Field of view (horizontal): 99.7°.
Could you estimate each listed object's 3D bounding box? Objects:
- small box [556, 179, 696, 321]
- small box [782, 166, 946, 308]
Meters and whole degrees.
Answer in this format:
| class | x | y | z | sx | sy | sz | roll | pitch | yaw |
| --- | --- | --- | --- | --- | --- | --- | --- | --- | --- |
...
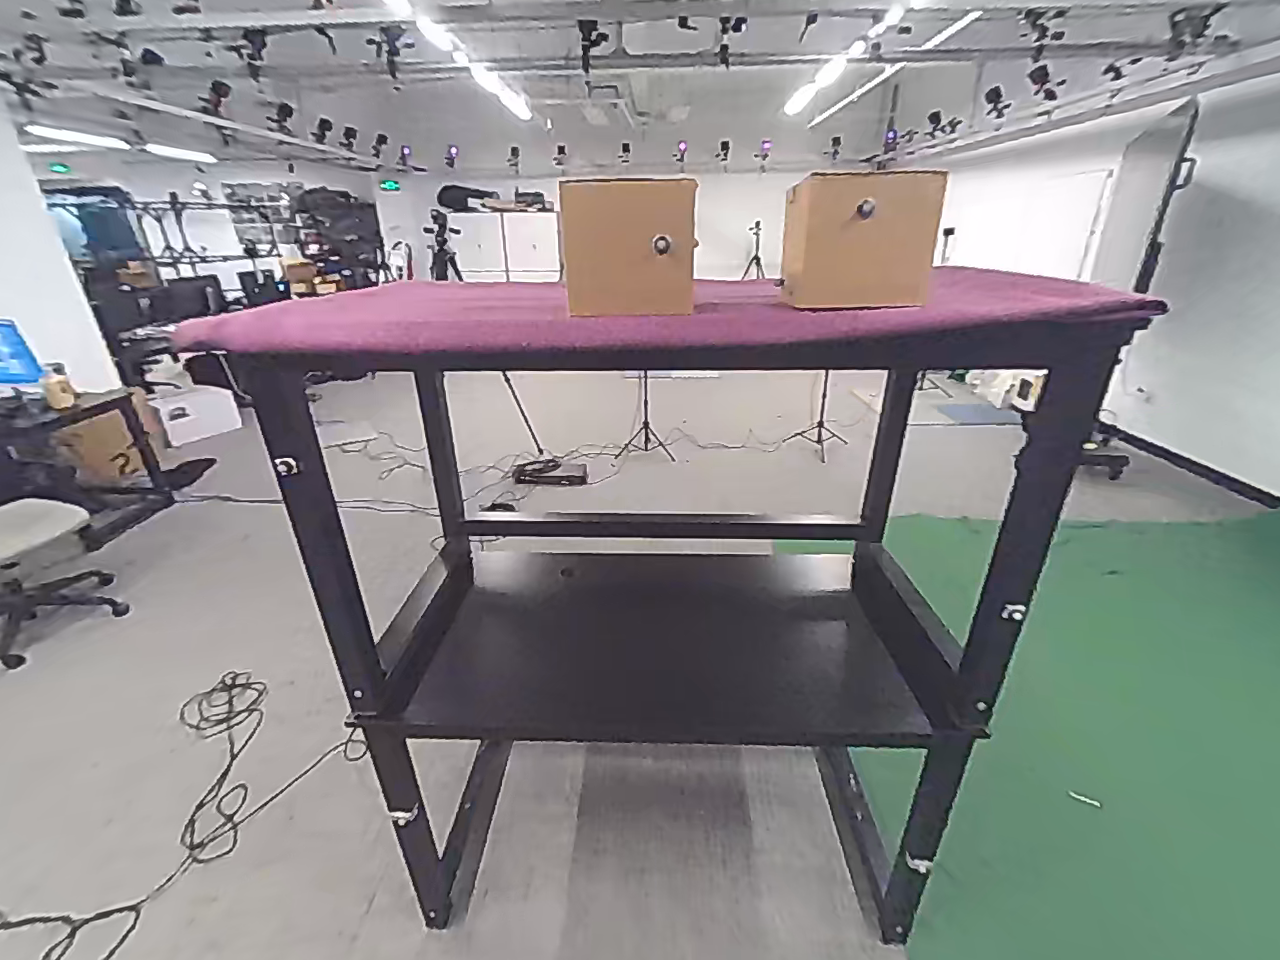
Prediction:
| class | x | y | z | sx | sy | sz | roll | pitch | yaw |
| --- | --- | --- | --- | --- | --- | --- | --- | --- | --- |
| small box | -0.015 | -0.328 | 0.774 | 0.179 | 0.176 | 0.168 | -2 | 24 | 1 |
| small box | 0.308 | -0.343 | 0.785 | 0.179 | 0.176 | 0.168 | 0 | 23 | 4 |
